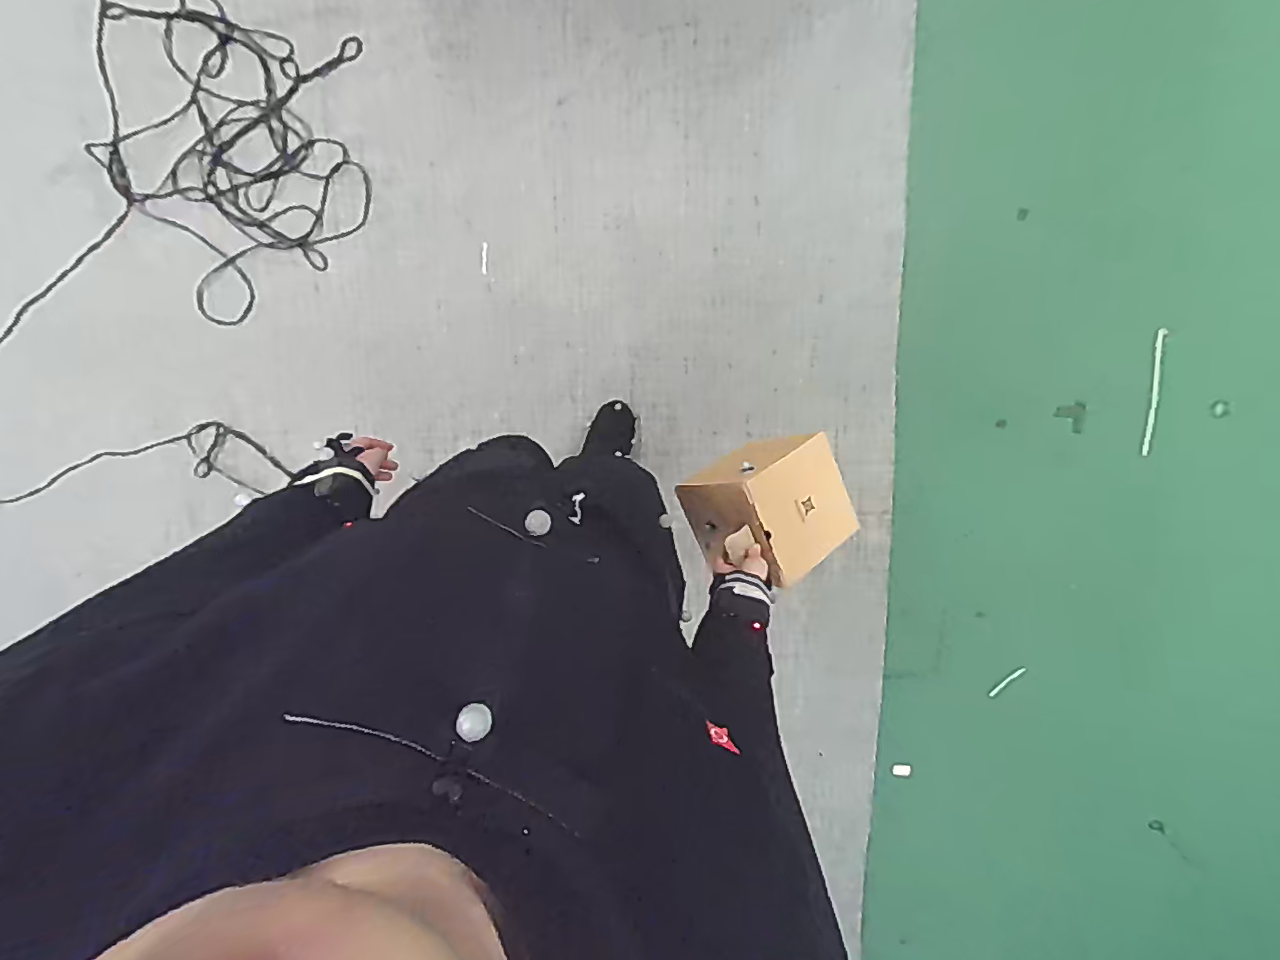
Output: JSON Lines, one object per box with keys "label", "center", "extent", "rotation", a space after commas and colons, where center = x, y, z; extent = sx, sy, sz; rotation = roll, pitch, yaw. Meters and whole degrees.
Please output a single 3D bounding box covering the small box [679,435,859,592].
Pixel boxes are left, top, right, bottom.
{"label": "small box", "center": [0.192, 0.044, 0.822], "extent": [0.179, 0.176, 0.168], "rotation": [-31, 104, -28]}
